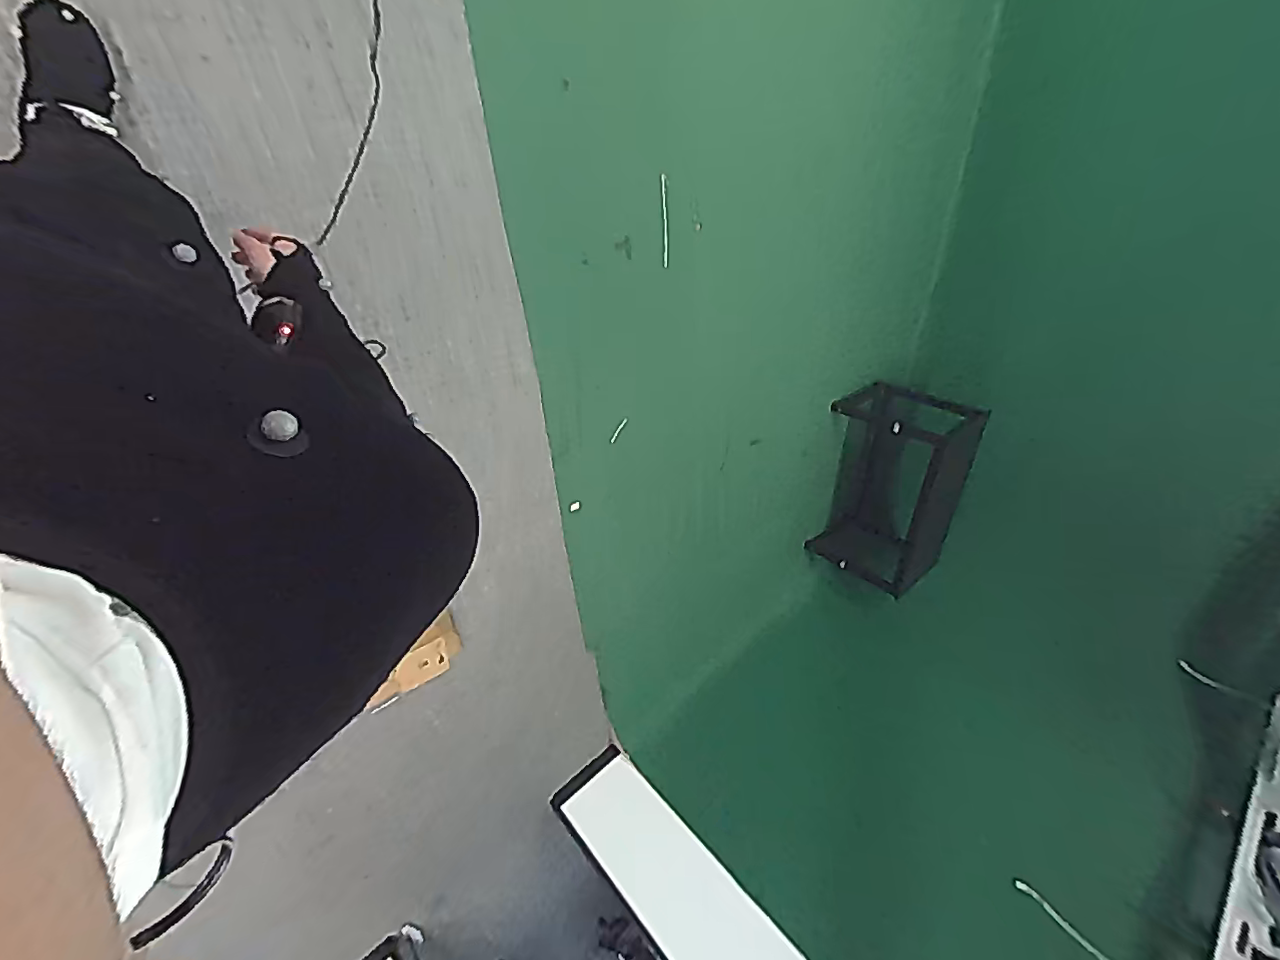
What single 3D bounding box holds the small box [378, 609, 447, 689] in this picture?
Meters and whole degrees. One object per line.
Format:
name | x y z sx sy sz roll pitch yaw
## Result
small box | -0.813 0.593 1.919 0.179 0.176 0.168 -21 127 -36
